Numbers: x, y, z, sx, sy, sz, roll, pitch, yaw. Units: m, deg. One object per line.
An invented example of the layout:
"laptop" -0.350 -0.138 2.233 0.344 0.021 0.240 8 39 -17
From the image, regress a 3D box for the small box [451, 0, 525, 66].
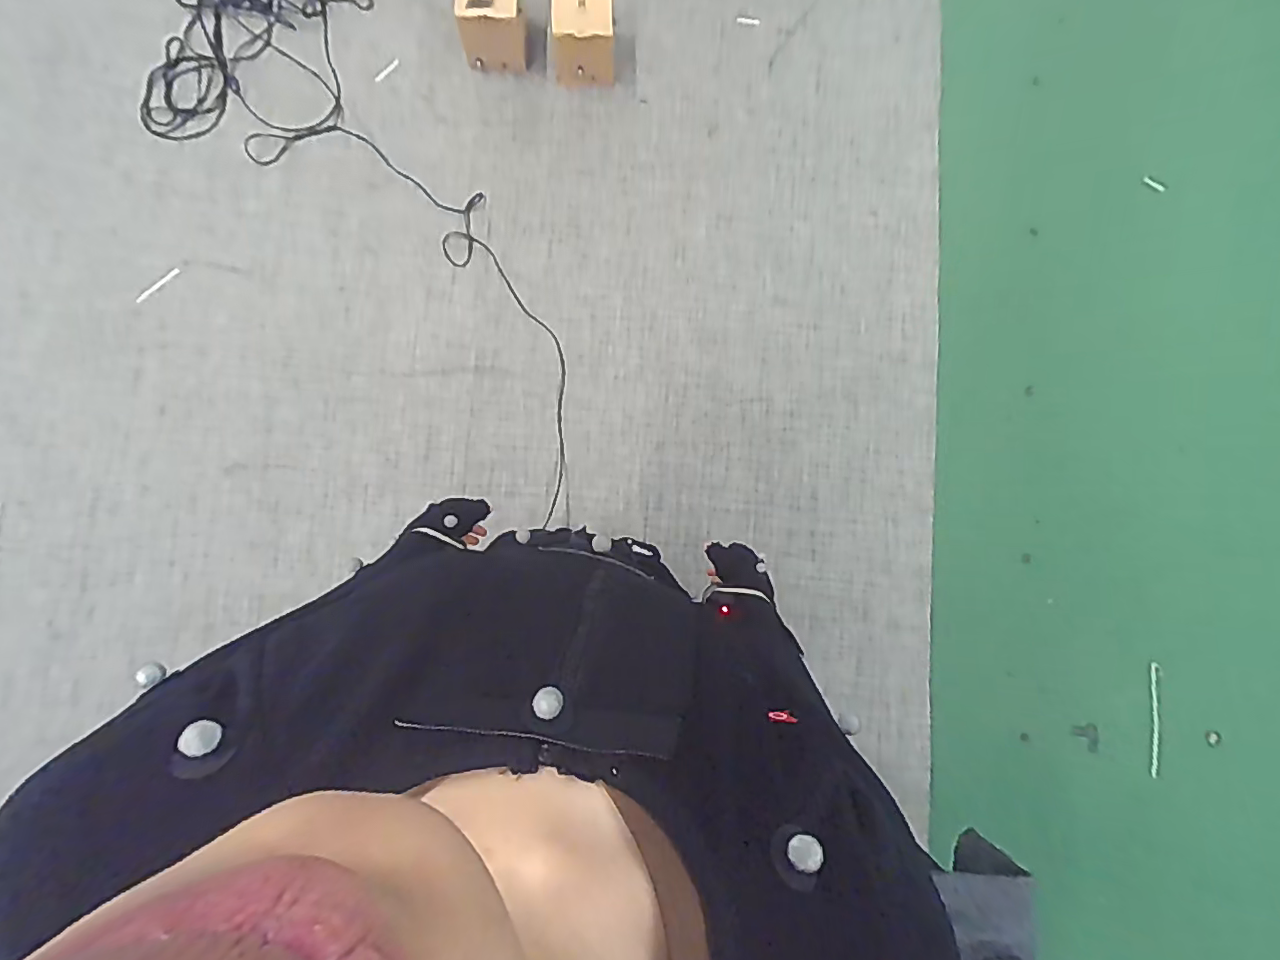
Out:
"small box" -0.418 -1.302 1.508 0.168 0.176 0.179 1 85 -3

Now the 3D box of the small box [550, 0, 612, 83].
"small box" -0.164 -1.269 1.522 0.168 0.176 0.179 -2 87 -3
